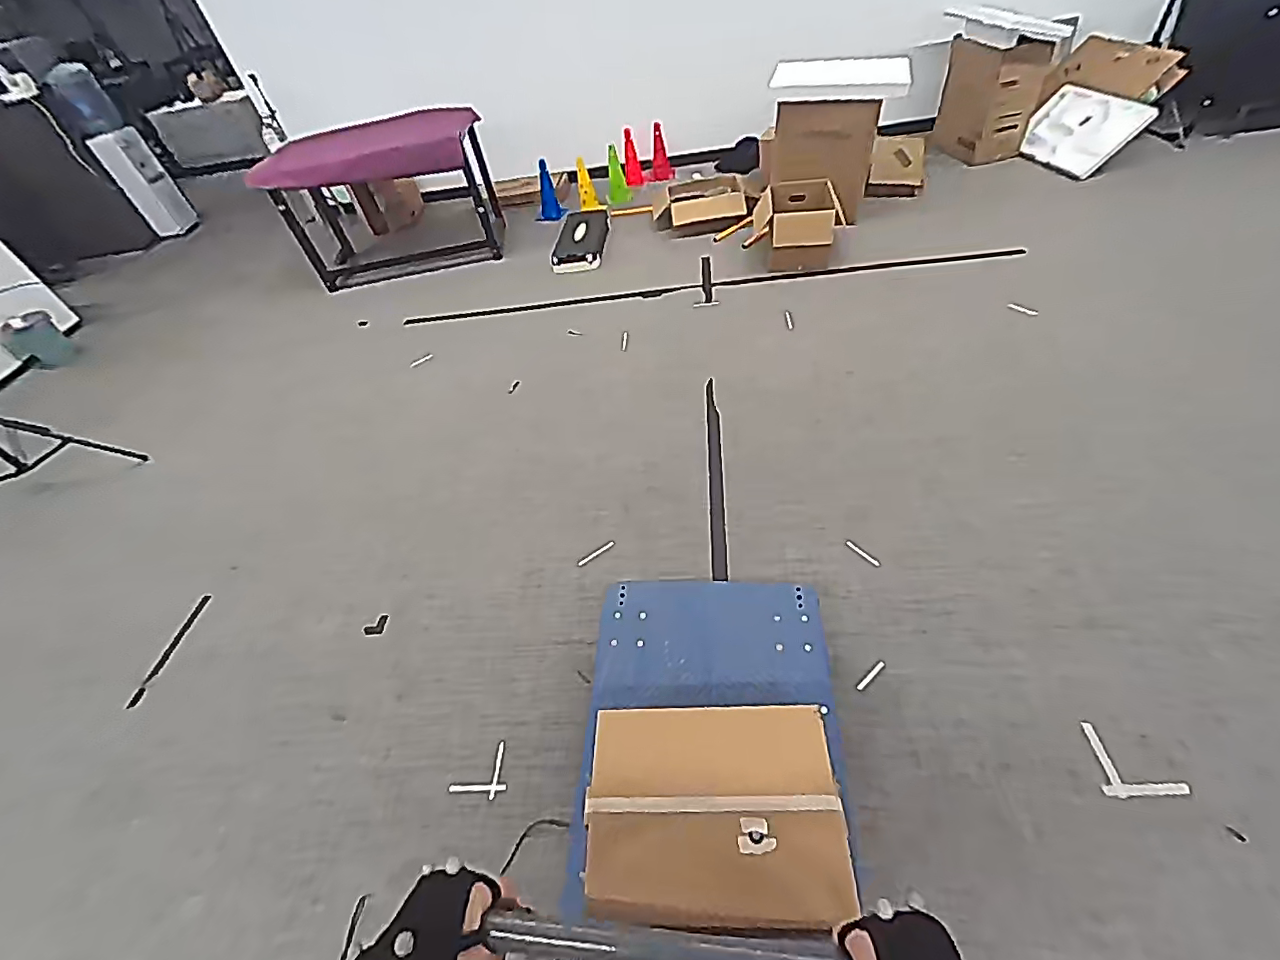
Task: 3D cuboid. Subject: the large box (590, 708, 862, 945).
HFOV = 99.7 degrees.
[{"bbox_3d":[0.138,0.638,0.991,0.408,0.320,0.320,-4,47,6],"label":"large box"}]
